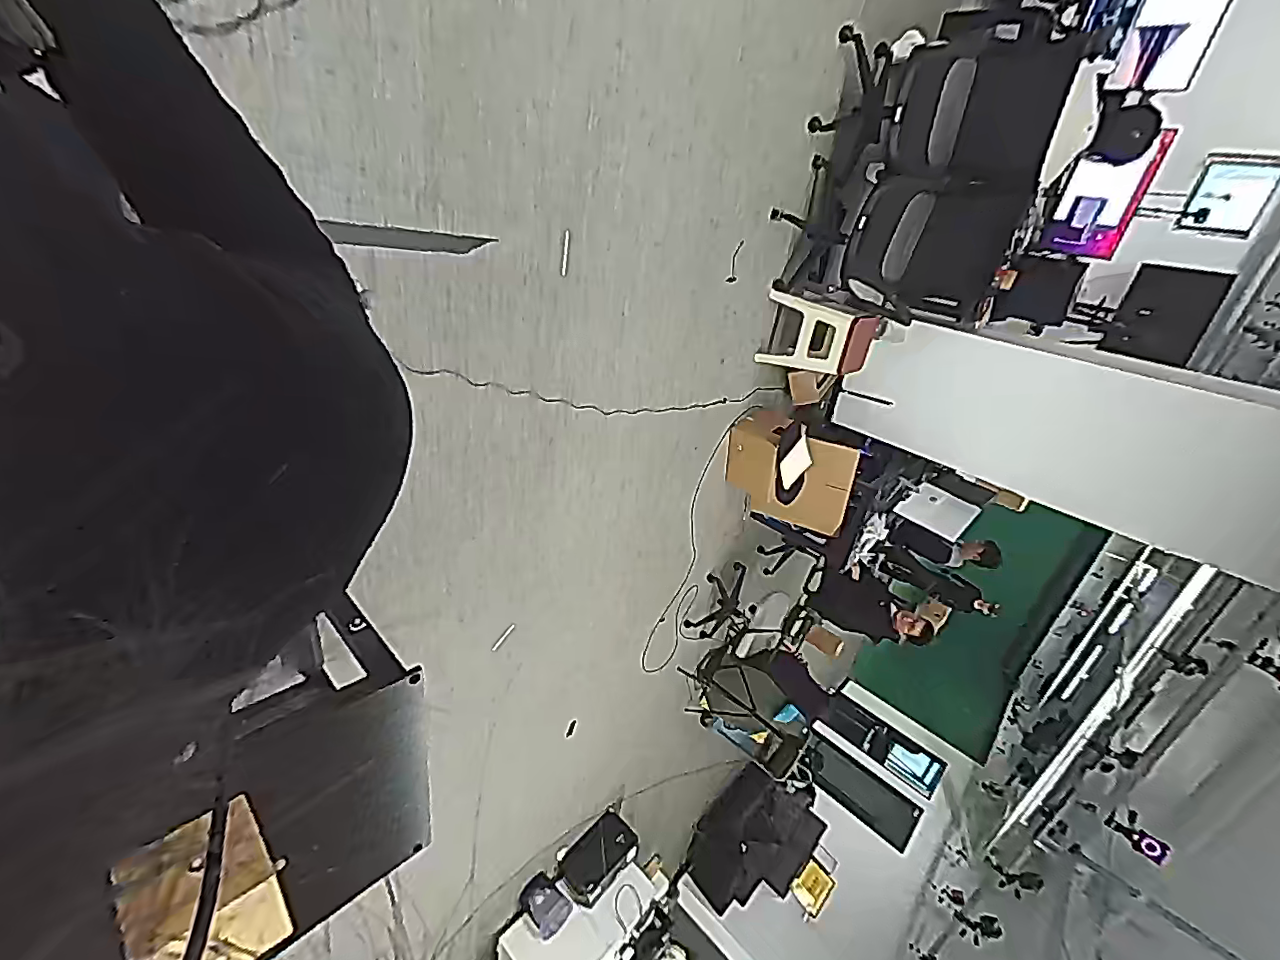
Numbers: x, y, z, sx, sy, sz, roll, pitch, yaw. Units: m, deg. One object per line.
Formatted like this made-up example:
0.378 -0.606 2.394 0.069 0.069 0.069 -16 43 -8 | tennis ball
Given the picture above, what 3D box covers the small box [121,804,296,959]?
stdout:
-0.669 0.652 0.845 0.168 0.176 0.179 -20 129 -43 | small box
